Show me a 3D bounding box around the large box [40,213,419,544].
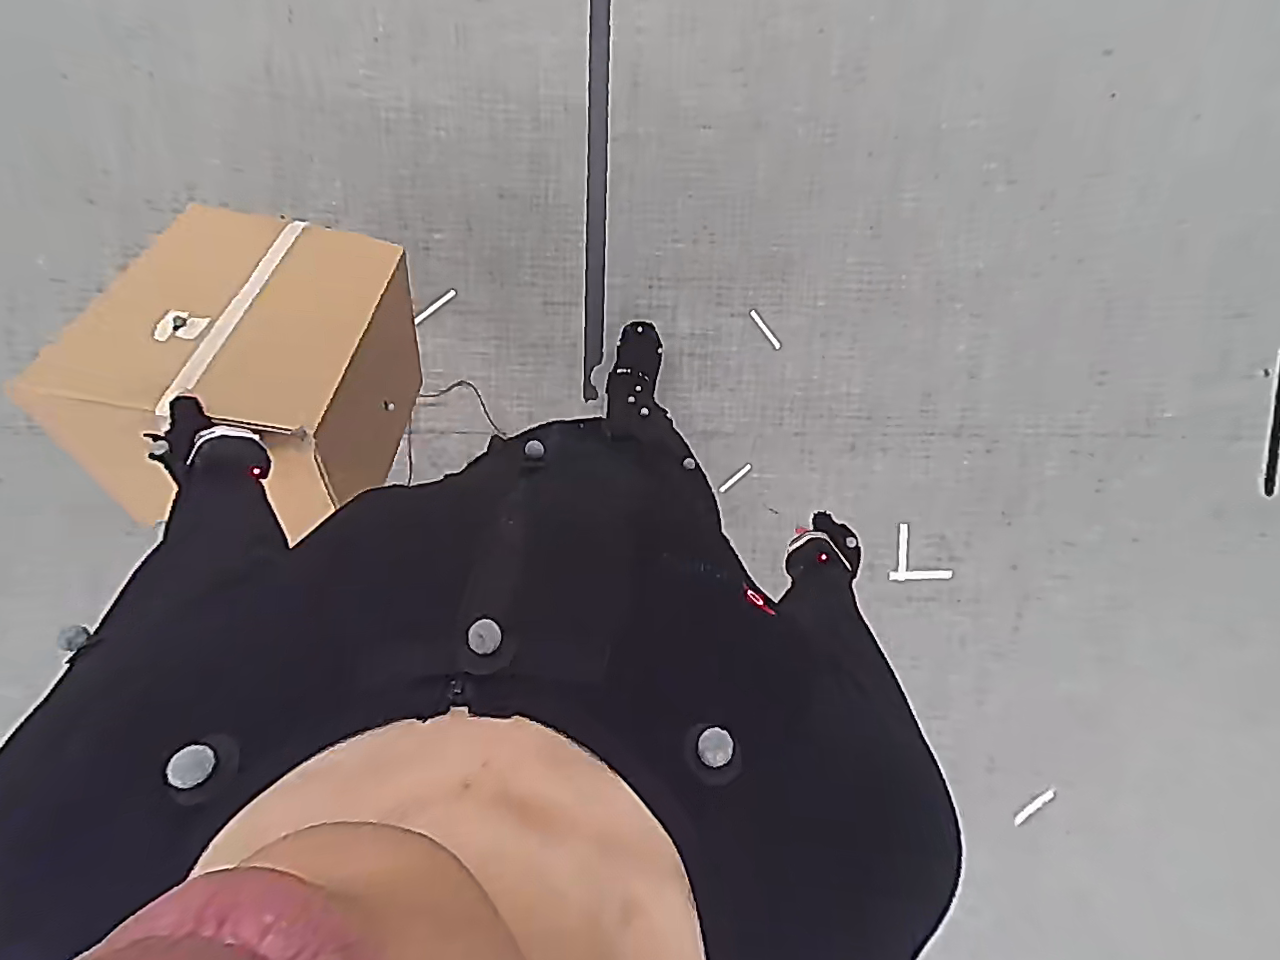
[{"bbox_3d":[-0.575,-0.155,0.878,0.320,0.320,0.408,7,54,-9],"label":"large box"}]
